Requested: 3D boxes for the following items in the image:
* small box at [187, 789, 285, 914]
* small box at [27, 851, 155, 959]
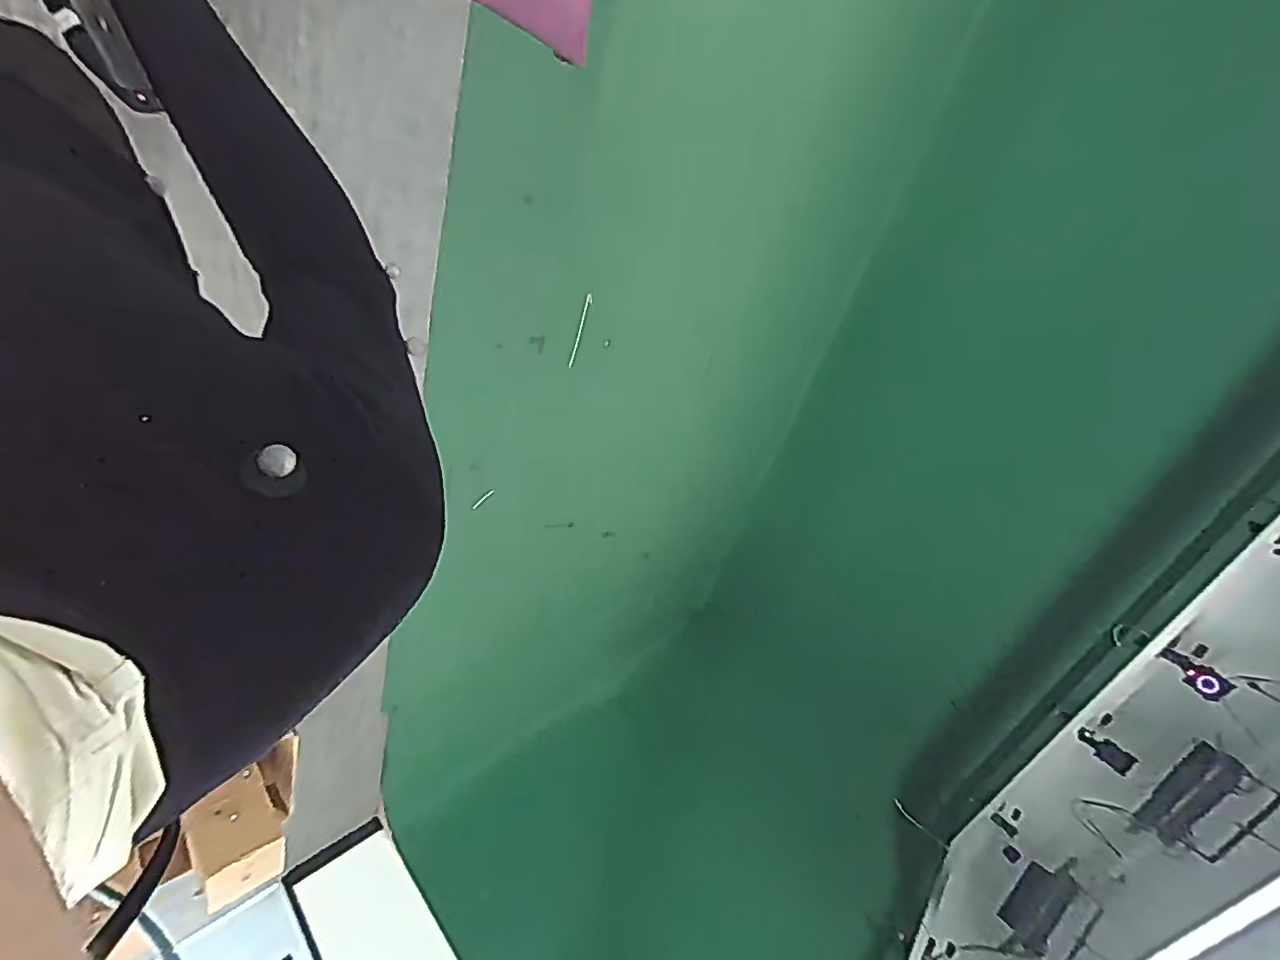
[{"bbox_3d":[-1.043,0.948,1.394,0.168,0.176,0.179,-13,131,-49],"label":"small box"},{"bbox_3d":[-1.214,0.982,1.199,0.179,0.176,0.168,-10,127,-49],"label":"small box"}]
